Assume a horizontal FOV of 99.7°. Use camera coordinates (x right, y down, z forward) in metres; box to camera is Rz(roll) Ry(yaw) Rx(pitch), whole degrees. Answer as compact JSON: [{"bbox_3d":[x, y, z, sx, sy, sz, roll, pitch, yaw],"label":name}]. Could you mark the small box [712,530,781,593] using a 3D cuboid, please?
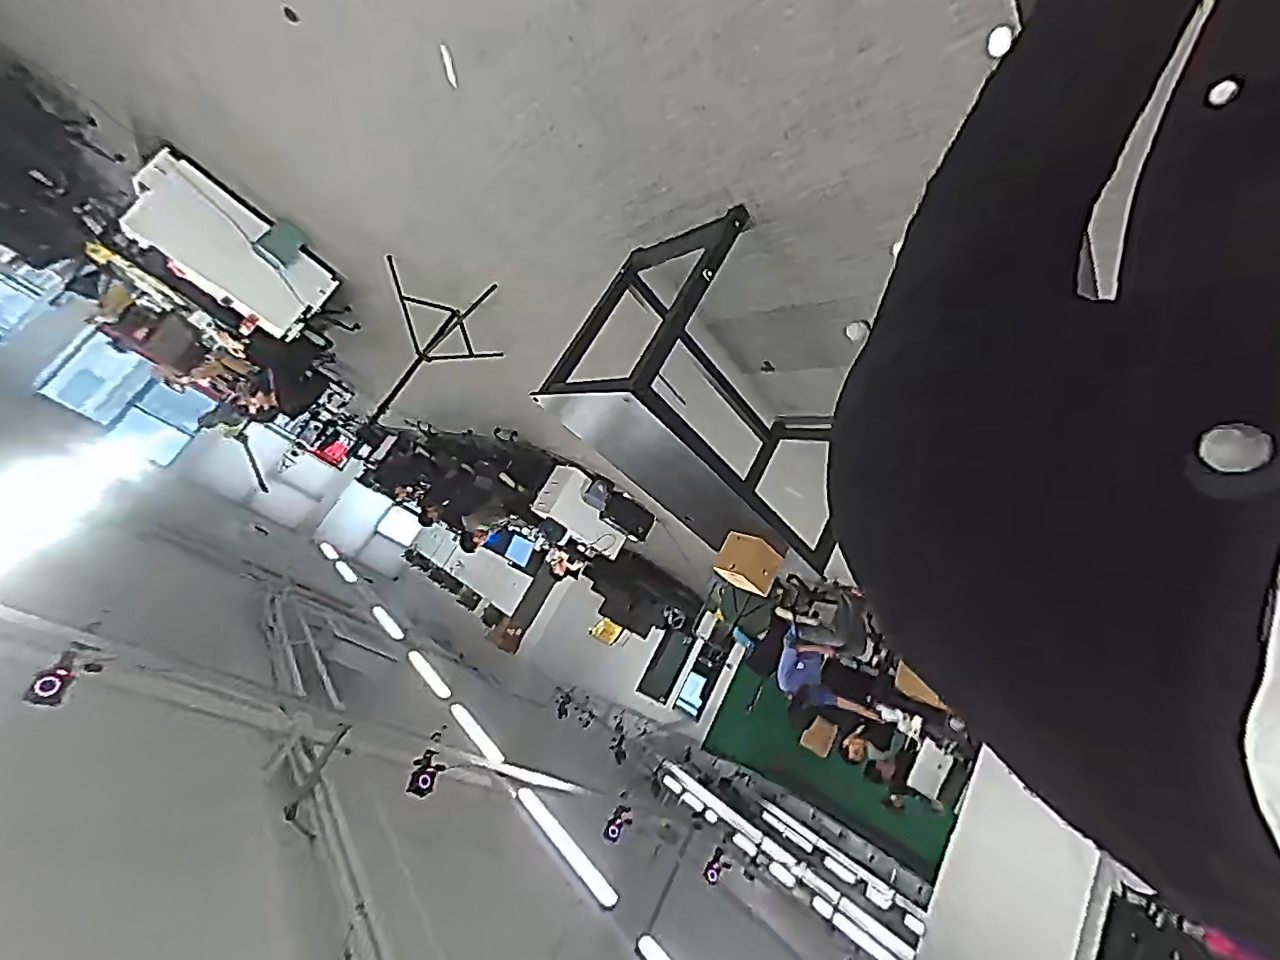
[{"bbox_3d":[0.424,0.318,2.125,0.179,0.176,0.168,39,162,-33],"label":"small box"}]
